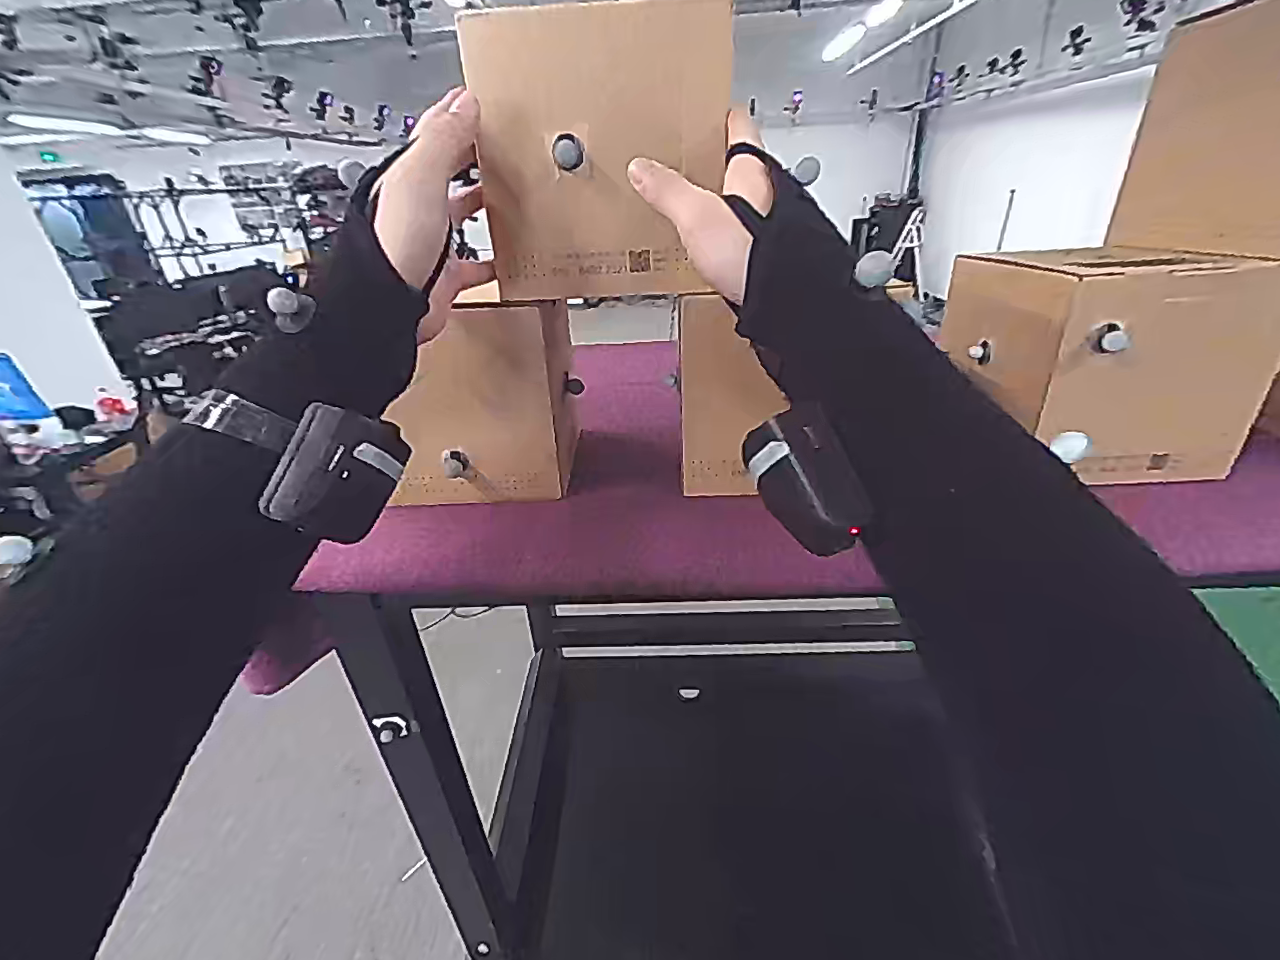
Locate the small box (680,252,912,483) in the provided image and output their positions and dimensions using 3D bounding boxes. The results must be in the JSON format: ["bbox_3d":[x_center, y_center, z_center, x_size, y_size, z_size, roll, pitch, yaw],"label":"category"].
[{"bbox_3d":[0.121,-0.105,0.492,0.168,0.176,0.179,-1,27,4],"label":"small box"}]

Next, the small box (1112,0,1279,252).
[{"bbox_3d":[0.520,-0.265,0.402,0.168,0.176,0.179,-2,26,1],"label":"small box"}]

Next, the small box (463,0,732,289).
[{"bbox_3d":[-0.018,-0.247,0.426,0.168,0.176,0.179,-2,27,3],"label":"small box"}]

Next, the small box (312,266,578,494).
[{"bbox_3d":[-0.152,-0.096,0.499,0.179,0.176,0.168,-2,27,0],"label":"small box"}]
